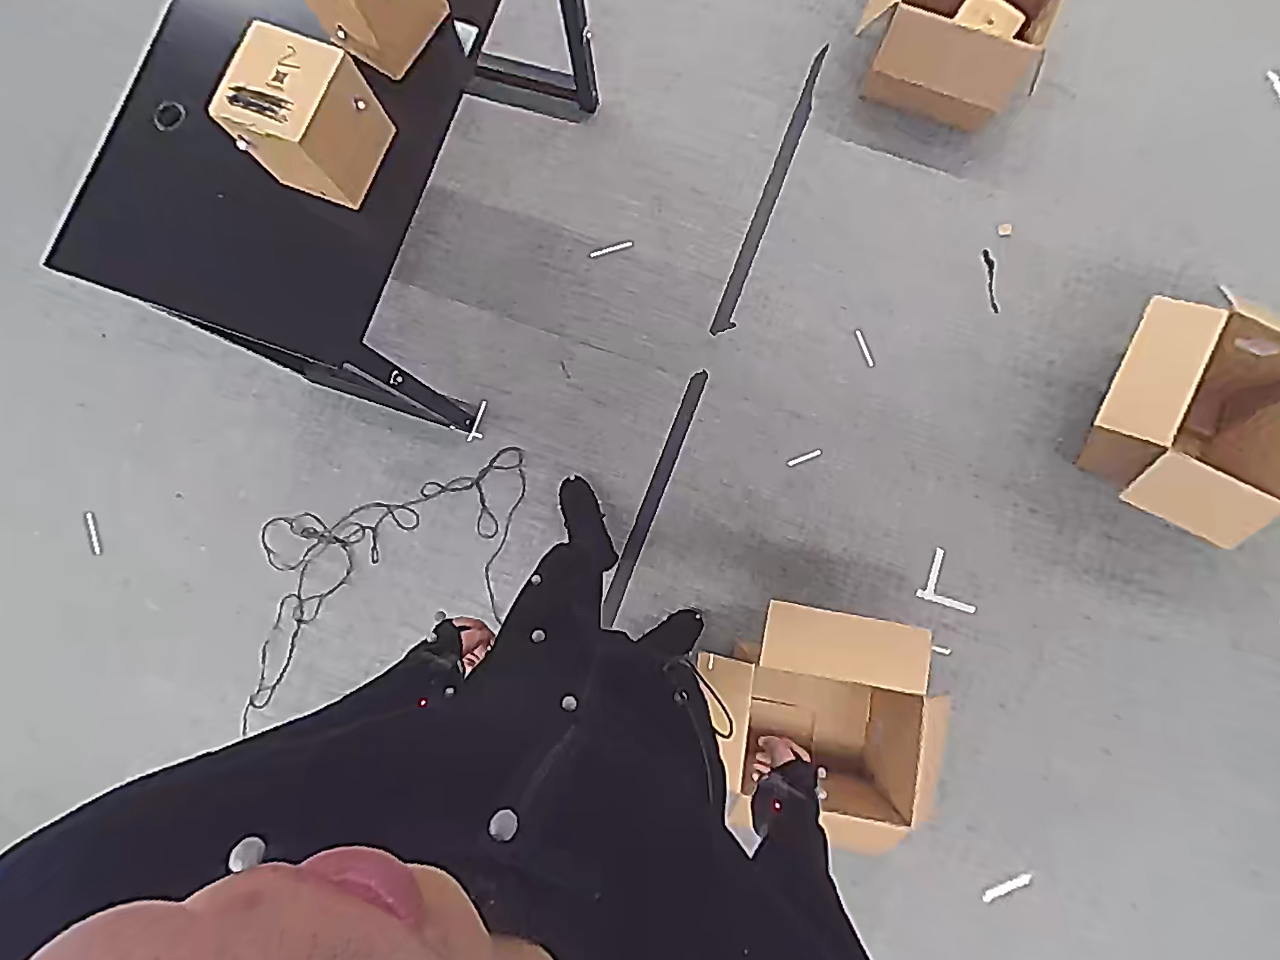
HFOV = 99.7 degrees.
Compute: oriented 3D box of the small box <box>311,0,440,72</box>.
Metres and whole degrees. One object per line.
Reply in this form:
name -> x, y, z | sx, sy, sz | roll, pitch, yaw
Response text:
small box -> -0.478, -0.881, 0.945 | 0.168, 0.176, 0.179 | 33, 87, 6
